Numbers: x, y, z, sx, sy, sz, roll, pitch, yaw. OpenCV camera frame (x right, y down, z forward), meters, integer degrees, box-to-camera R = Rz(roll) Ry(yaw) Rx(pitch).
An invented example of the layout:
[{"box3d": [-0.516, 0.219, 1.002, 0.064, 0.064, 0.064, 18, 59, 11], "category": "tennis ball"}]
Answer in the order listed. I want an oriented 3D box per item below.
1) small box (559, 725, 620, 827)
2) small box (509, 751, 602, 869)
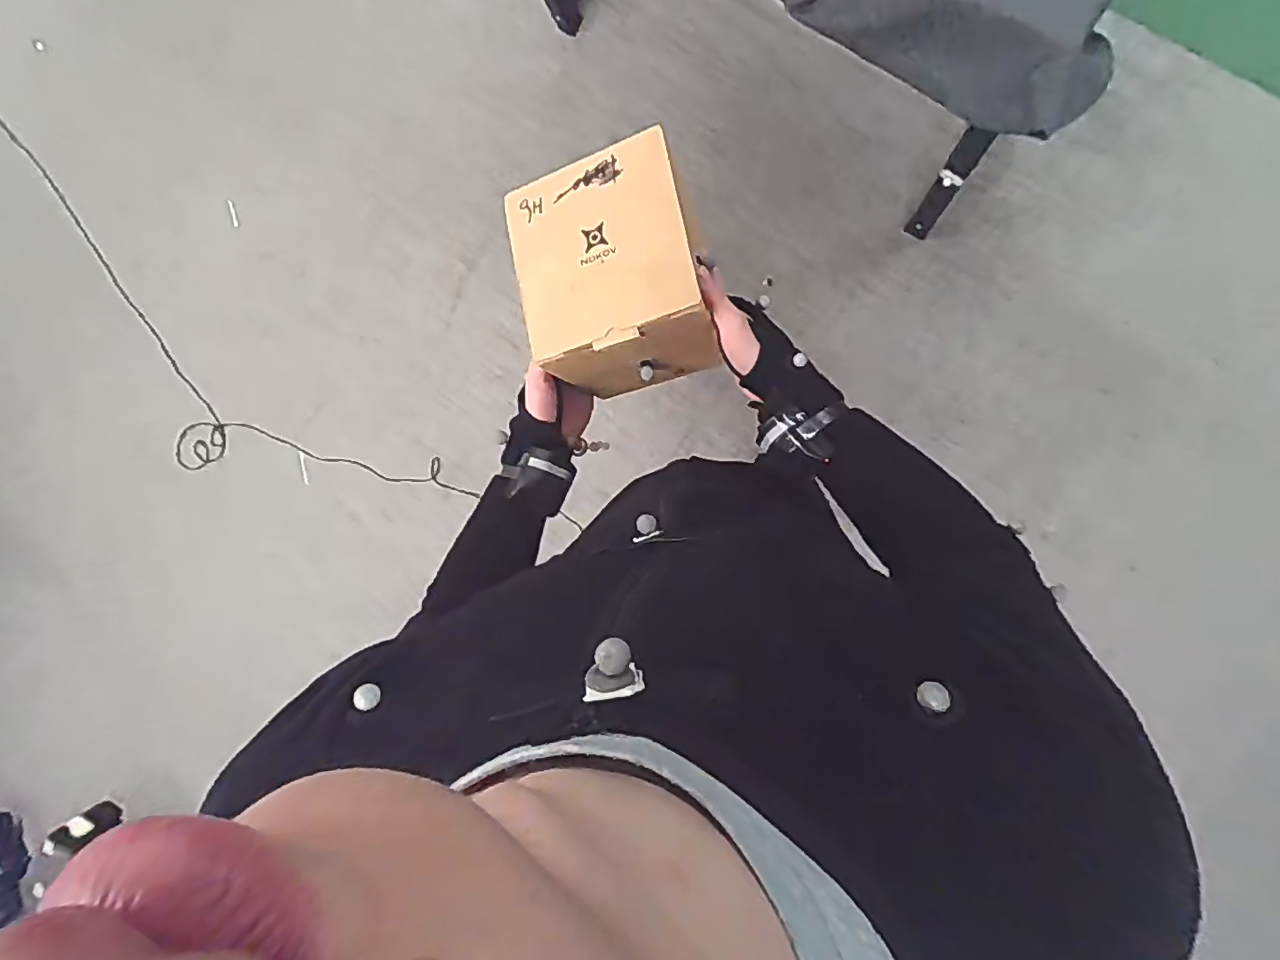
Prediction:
[{"box3d": [-0.176, 0.881, 1.630, 0.168, 0.176, 0.179, 25, 102, 12], "category": "small box"}, {"box3d": [-0.223, 0.889, 1.472, 0.168, 0.176, 0.179, 26, 99, 12], "category": "small box"}]
